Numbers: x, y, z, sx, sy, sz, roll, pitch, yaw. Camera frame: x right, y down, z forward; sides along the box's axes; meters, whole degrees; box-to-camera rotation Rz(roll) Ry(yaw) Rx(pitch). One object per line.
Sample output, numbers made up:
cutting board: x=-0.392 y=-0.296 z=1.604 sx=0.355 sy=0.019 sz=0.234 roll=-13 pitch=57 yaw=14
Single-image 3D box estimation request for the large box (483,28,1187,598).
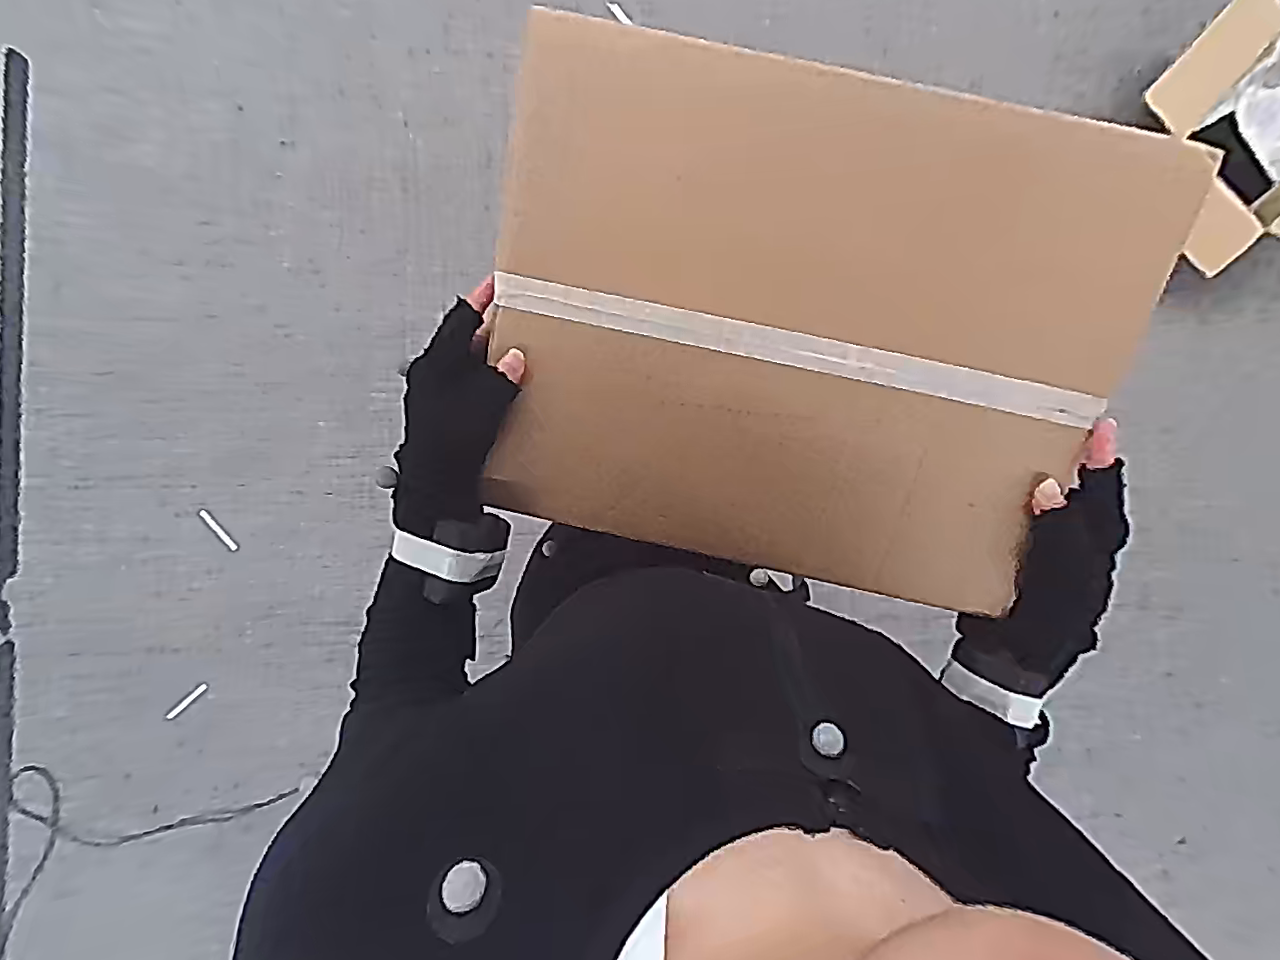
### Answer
large box: x=0.109 y=-0.134 z=0.506 sx=0.408 sy=0.320 sz=0.320 roll=12 pitch=109 yaw=1
